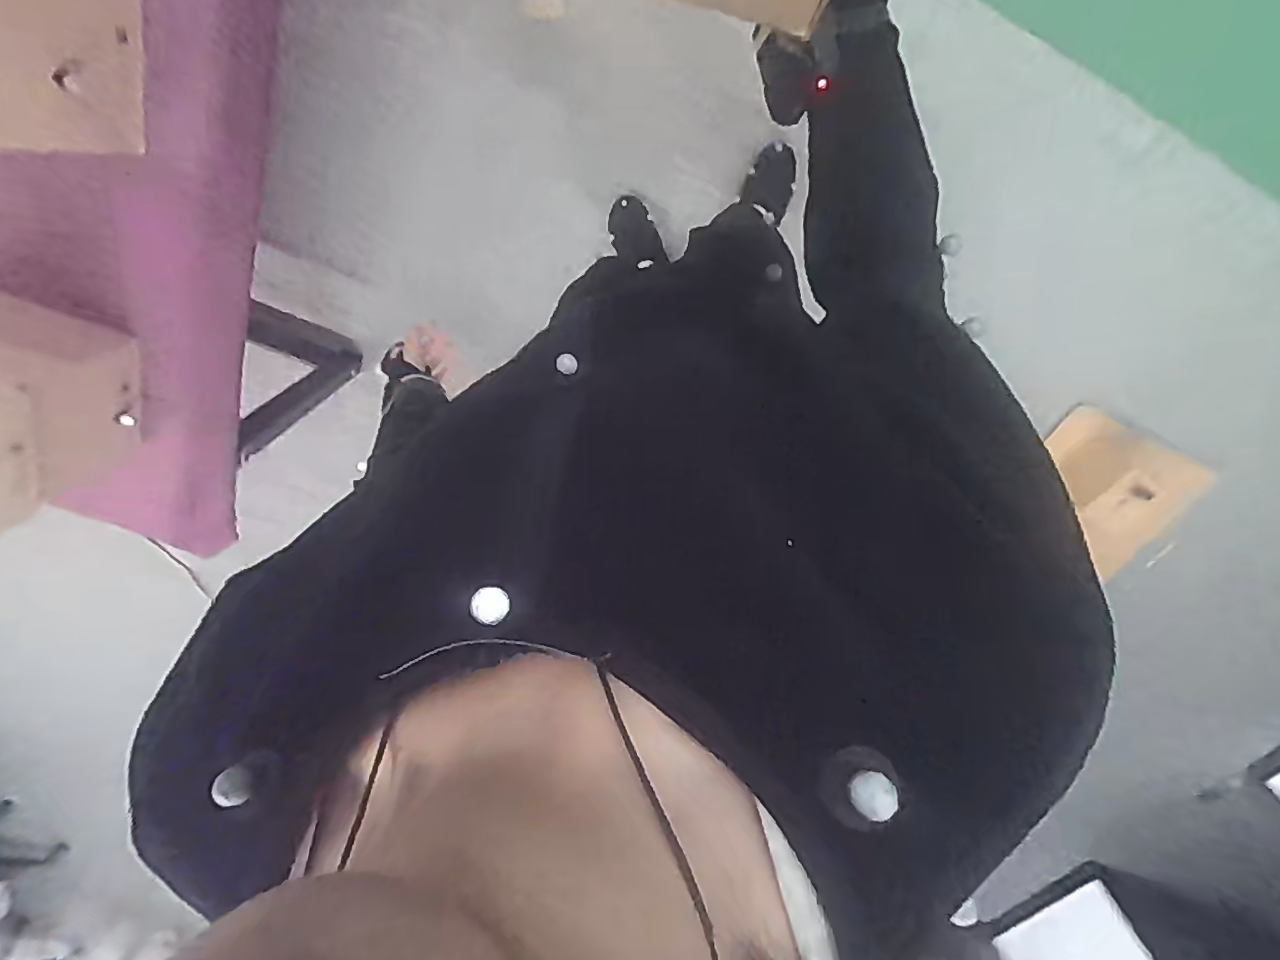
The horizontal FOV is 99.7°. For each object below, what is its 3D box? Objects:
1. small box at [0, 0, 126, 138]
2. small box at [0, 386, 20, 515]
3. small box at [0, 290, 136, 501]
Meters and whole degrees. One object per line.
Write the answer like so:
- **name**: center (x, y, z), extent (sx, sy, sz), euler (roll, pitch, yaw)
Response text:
- **small box**: center (-0.581, -0.413, 0.451), extent (0.179, 0.176, 0.168), euler (20, 119, -11)
- **small box**: center (-0.731, -0.021, 0.489), extent (0.179, 0.176, 0.168), euler (21, 118, -14)
- **small box**: center (-0.746, -0.107, 0.627), extent (0.179, 0.176, 0.168), euler (19, 118, -13)
